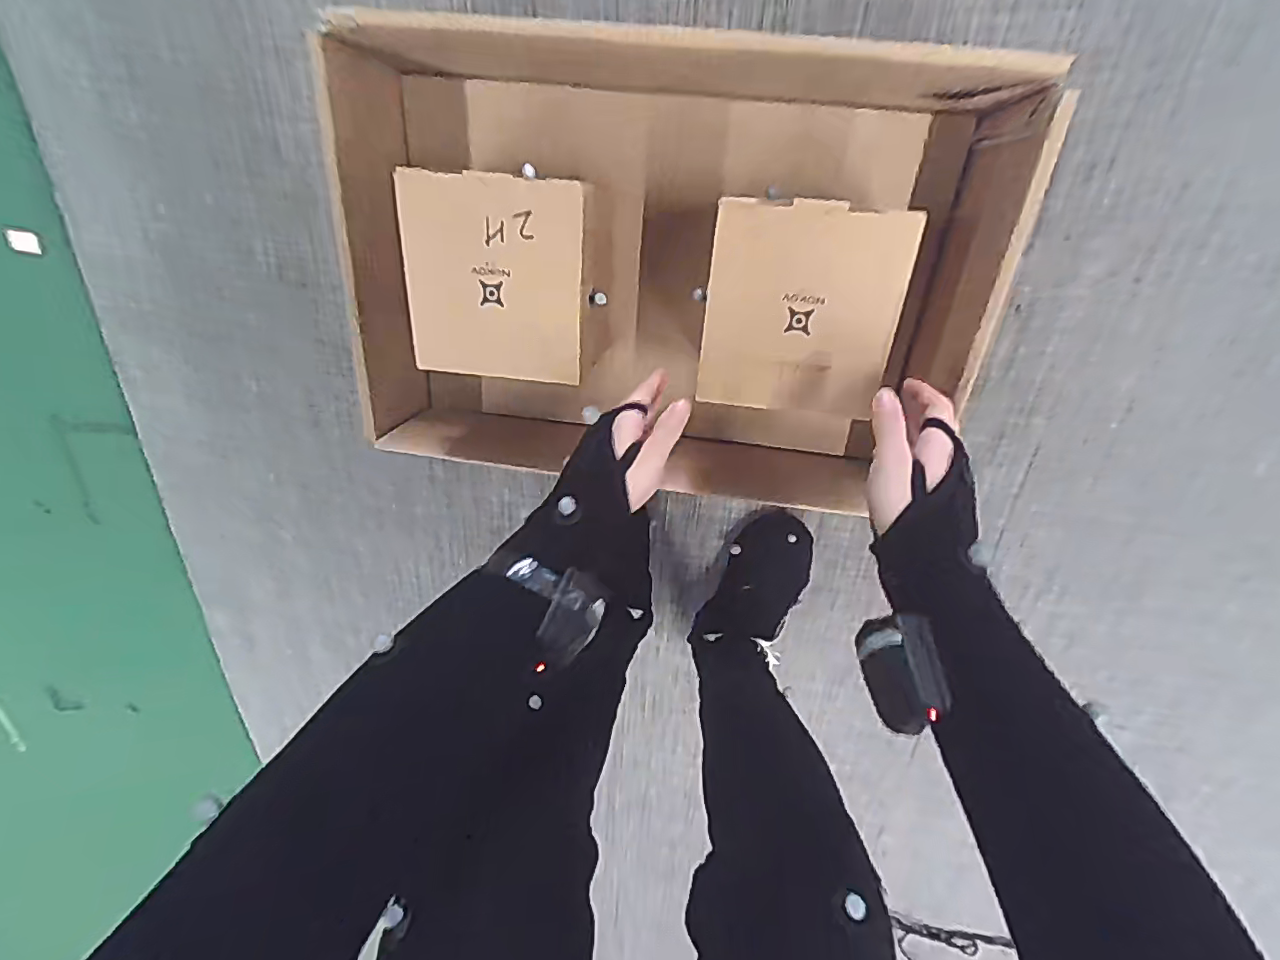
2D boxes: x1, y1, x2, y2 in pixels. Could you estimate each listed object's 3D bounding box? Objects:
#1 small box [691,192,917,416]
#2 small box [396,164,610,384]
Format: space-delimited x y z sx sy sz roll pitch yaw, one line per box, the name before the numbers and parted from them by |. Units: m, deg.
small box | 0.146 -0.181 0.544 0.168 0.176 0.179 8 116 6
small box | -0.127 -0.215 0.565 0.168 0.176 0.179 7 115 3
